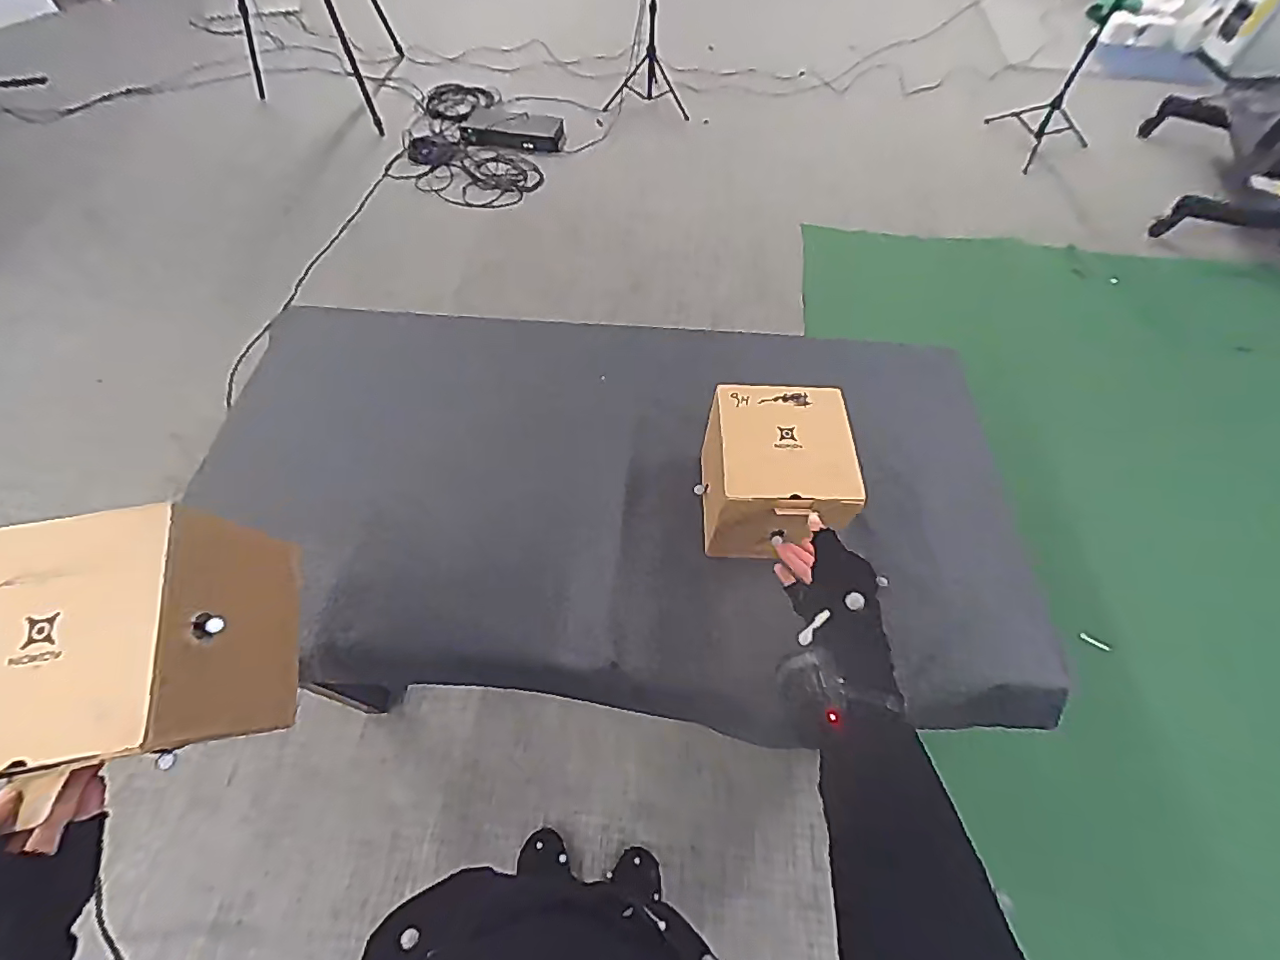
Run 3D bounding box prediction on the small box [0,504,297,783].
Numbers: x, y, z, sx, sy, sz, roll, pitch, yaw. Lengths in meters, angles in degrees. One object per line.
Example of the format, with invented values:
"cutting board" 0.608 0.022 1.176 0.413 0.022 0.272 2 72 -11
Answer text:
"small box" -0.415 0.137 0.448 0.168 0.176 0.179 -10 70 -4
